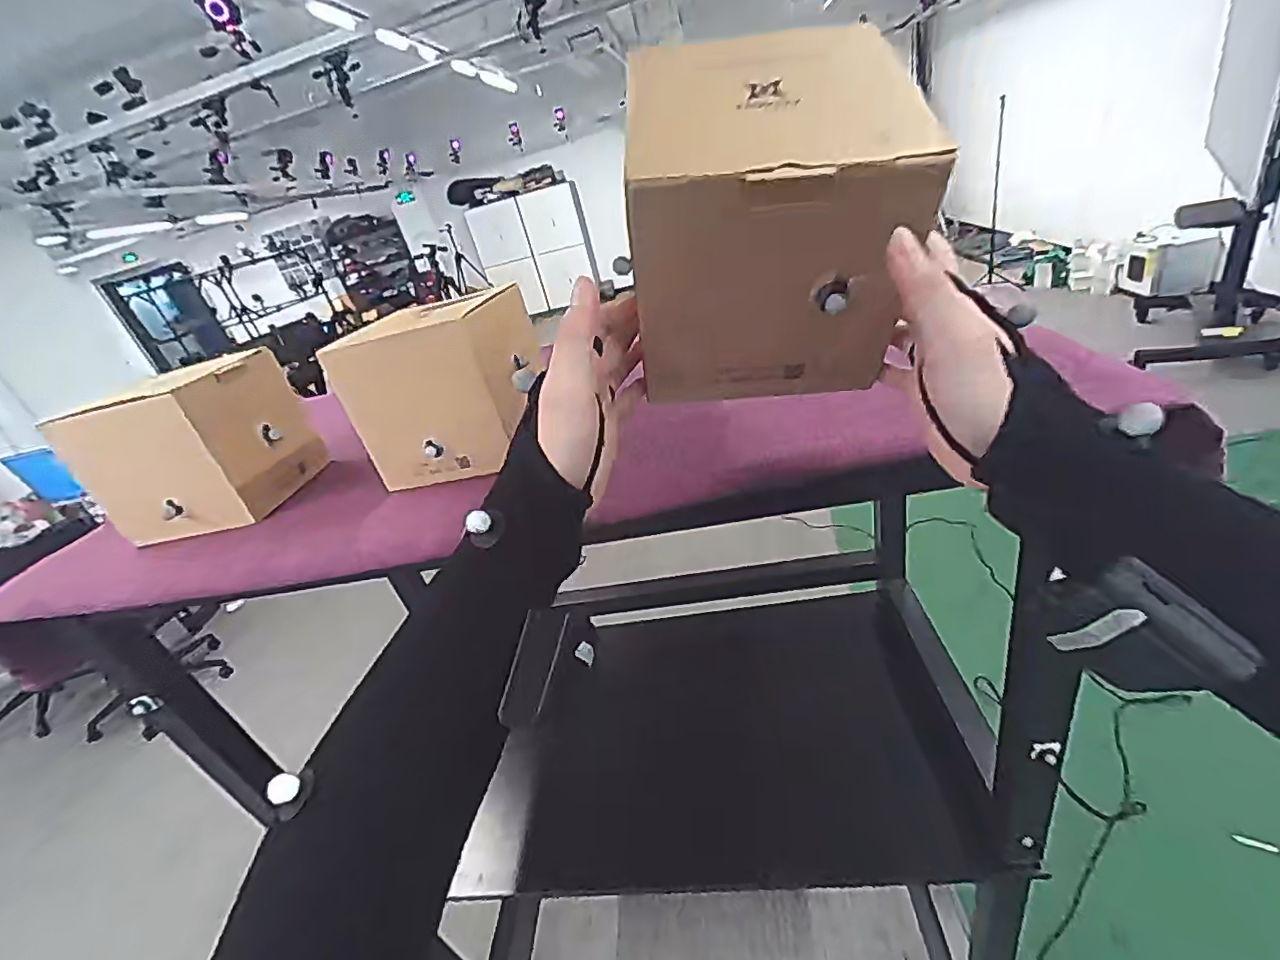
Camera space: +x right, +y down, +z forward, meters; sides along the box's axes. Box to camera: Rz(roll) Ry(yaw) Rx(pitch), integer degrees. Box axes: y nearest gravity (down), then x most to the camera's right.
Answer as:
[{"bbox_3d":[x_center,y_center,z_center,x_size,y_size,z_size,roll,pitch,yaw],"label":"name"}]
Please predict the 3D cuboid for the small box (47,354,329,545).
[{"bbox_3d":[-0.538,-0.039,0.679,0.179,0.176,0.168,-11,27,8],"label":"small box"}]

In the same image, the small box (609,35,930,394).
[{"bbox_3d":[0.074,-0.175,0.386,0.168,0.176,0.179,-3,55,5],"label":"small box"}]
